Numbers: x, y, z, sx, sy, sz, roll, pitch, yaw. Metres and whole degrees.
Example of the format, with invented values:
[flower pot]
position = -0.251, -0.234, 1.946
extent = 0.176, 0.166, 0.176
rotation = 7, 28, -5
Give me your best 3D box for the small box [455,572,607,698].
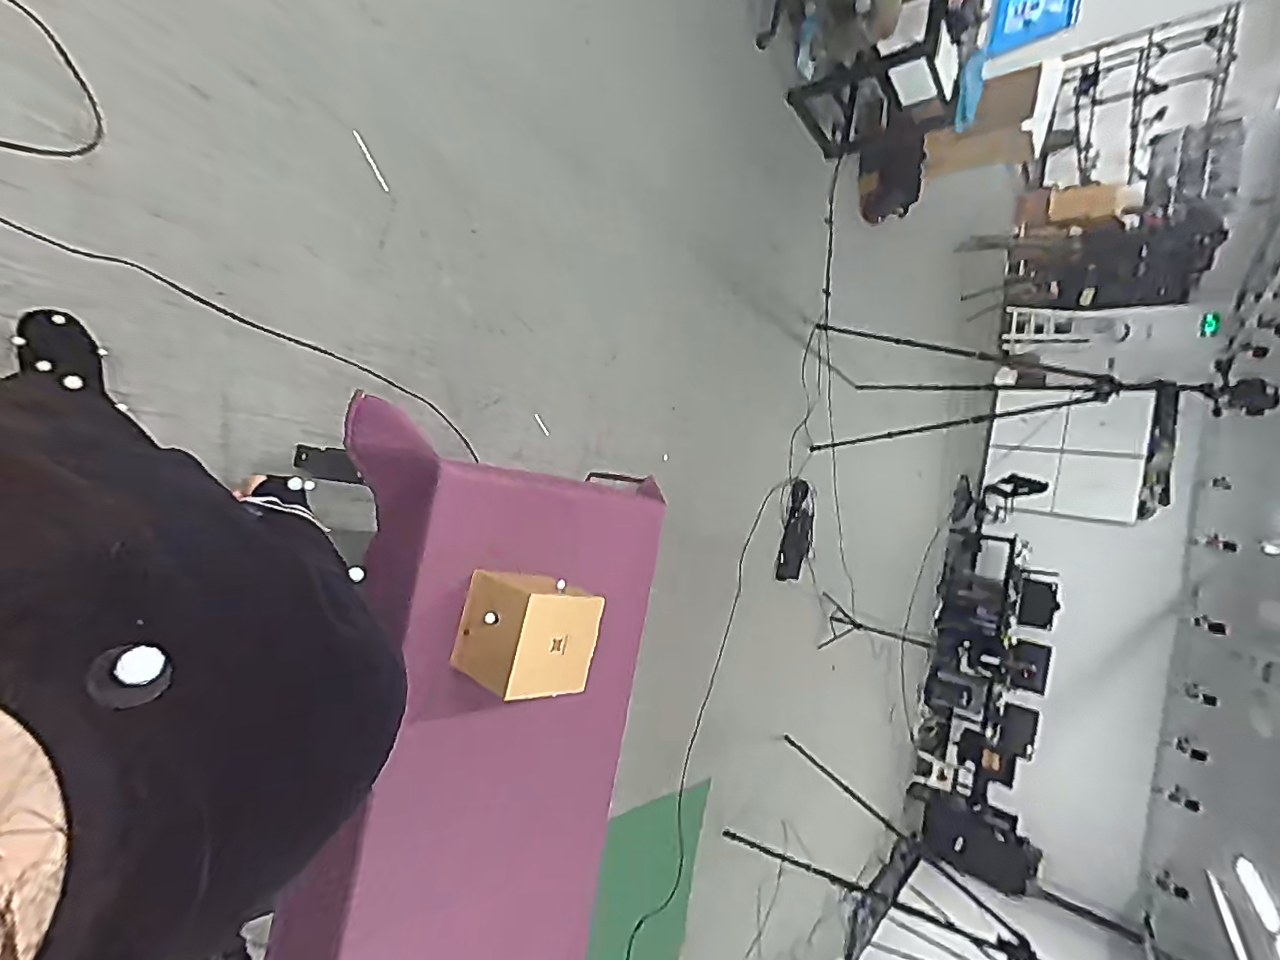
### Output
[small box]
position = -0.190, 0.261, 0.936
extent = 0.179, 0.176, 0.168
rotation = 19, 82, -49
